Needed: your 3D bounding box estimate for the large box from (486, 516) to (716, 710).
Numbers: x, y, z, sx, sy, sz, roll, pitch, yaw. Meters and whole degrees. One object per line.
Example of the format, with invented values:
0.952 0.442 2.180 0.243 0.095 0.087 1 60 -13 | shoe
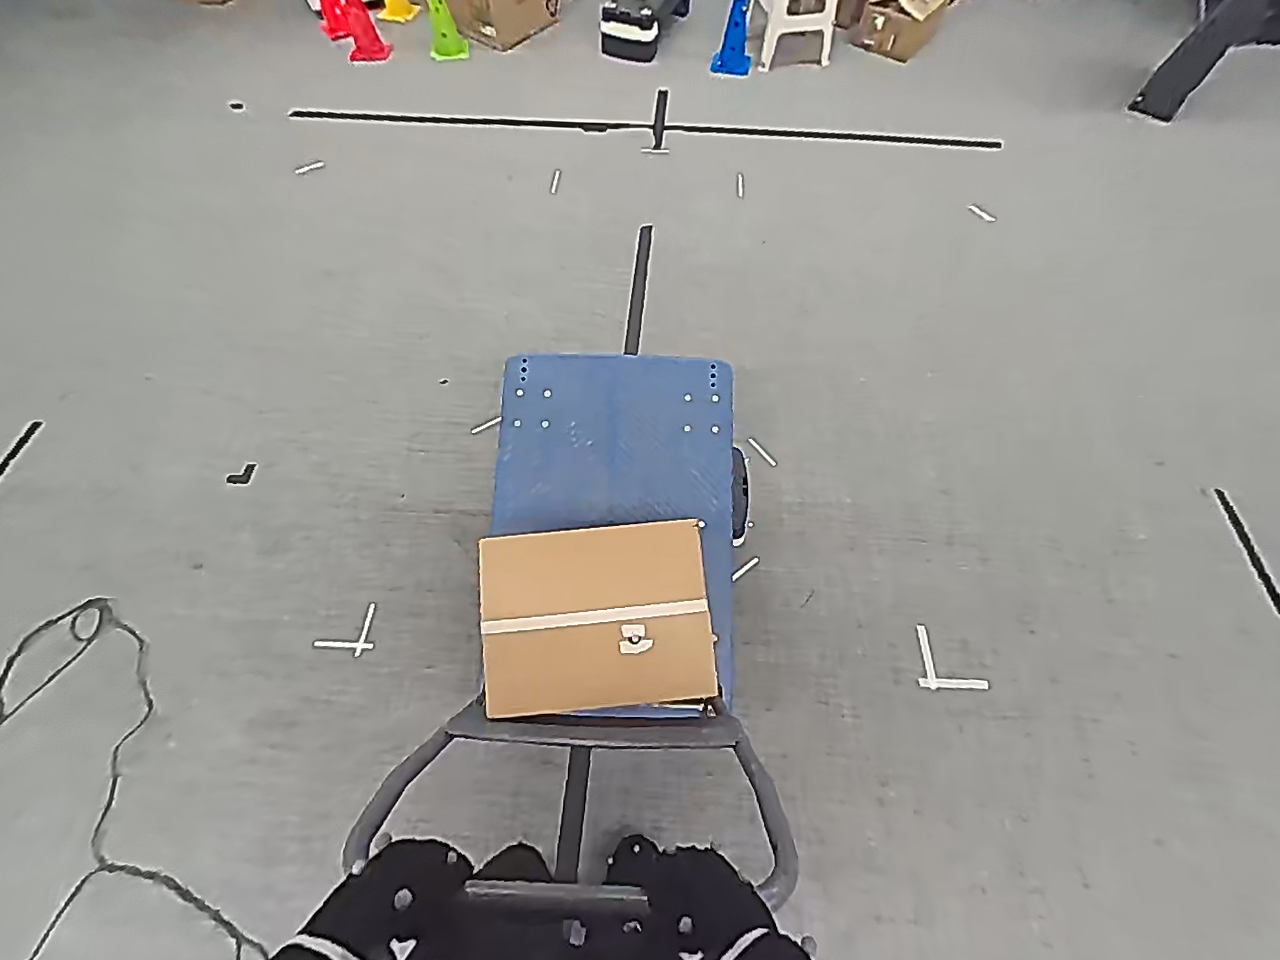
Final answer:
-0.079 0.266 1.132 0.408 0.320 0.320 -5 80 -2 | large box
